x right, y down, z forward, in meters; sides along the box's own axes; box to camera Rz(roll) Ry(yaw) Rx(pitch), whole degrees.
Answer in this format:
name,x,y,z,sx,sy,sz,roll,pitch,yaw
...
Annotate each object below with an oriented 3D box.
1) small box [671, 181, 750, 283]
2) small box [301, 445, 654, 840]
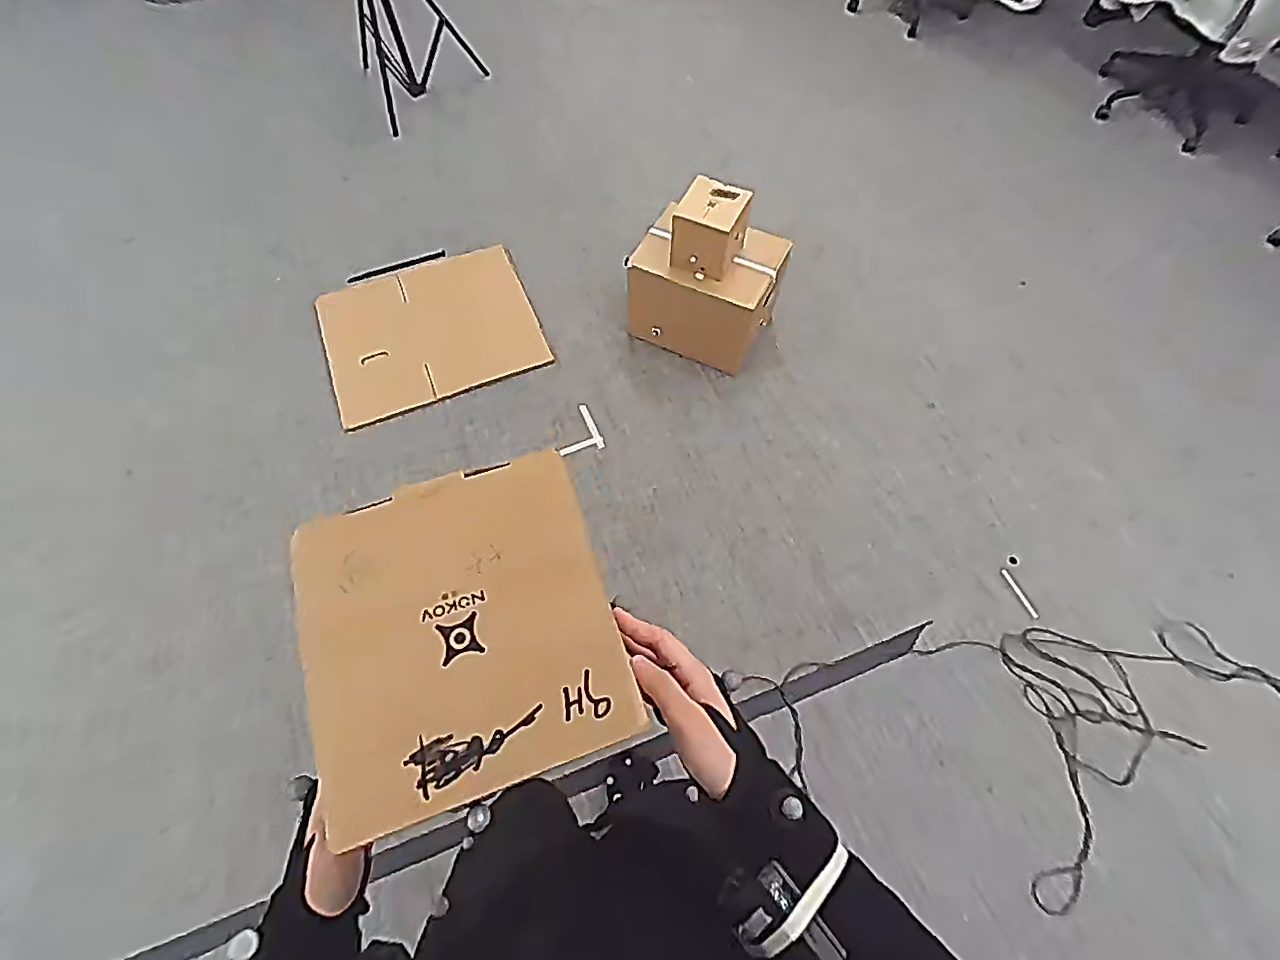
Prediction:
name,x,y,z,sx,sy,sz,roll,pitch,yaw
small box,0.192,-0.695,1.524,0.168,0.176,0.179,24,67,12
small box,-0.097,0.108,0.373,0.168,0.176,0.179,-19,67,-7
